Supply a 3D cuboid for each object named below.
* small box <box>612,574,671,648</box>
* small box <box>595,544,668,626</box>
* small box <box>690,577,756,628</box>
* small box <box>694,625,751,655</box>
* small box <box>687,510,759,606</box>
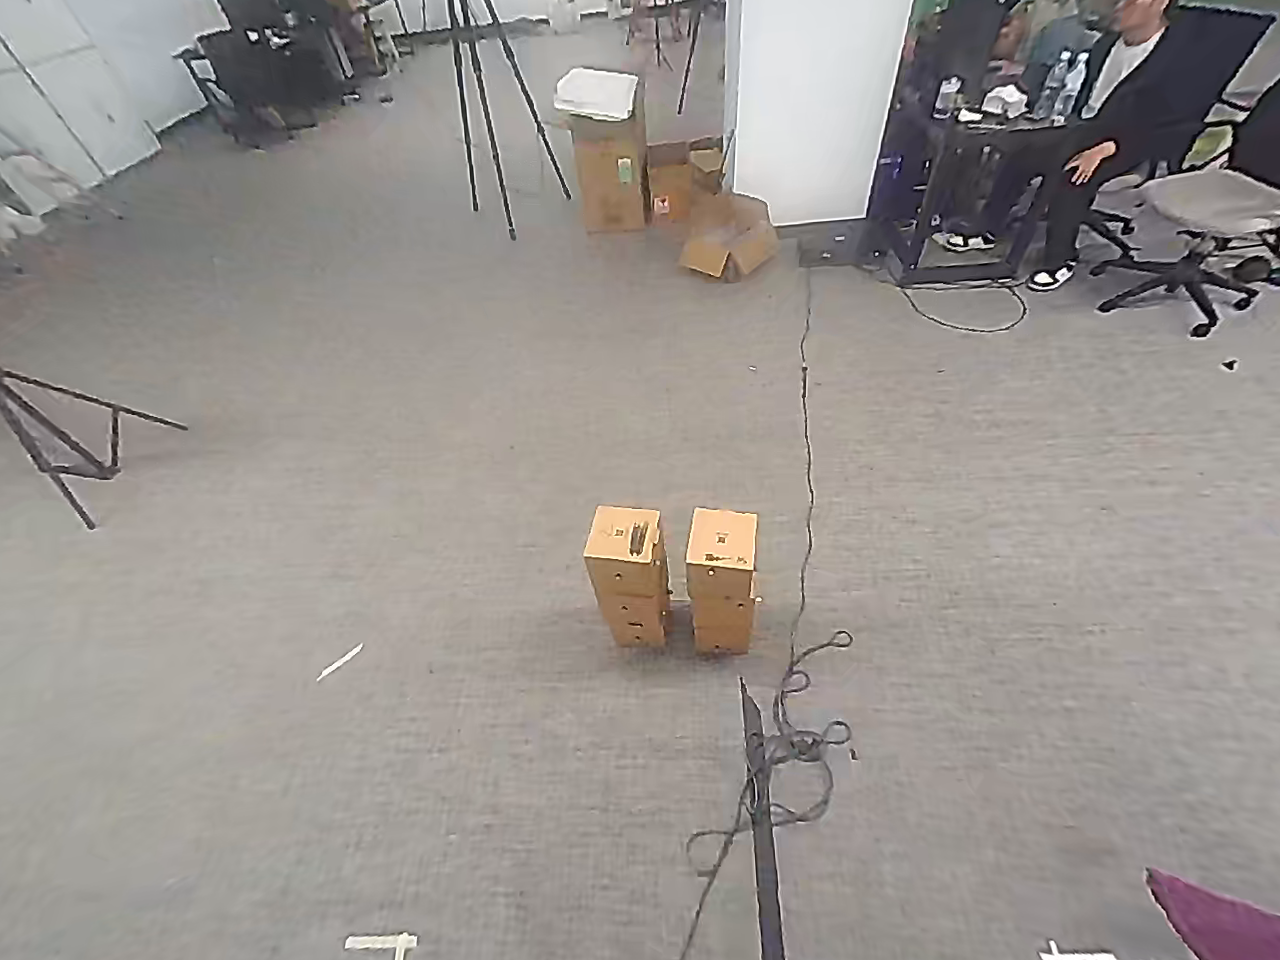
[{"bbox_3d":[0.006,0.406,1.703,0.168,0.176,0.179,2,49,9],"label":"small box"},{"bbox_3d":[-0.016,0.308,1.572,0.179,0.176,0.168,5,49,12],"label":"small box"},{"bbox_3d":[0.235,0.312,1.544,0.179,0.176,0.168,0,48,7],"label":"small box"},{"bbox_3d":[0.250,0.419,1.665,0.168,0.176,0.179,-2,49,6],"label":"small box"},{"bbox_3d":[0.217,0.204,1.421,0.168,0.176,0.179,5,48,12],"label":"small box"}]
